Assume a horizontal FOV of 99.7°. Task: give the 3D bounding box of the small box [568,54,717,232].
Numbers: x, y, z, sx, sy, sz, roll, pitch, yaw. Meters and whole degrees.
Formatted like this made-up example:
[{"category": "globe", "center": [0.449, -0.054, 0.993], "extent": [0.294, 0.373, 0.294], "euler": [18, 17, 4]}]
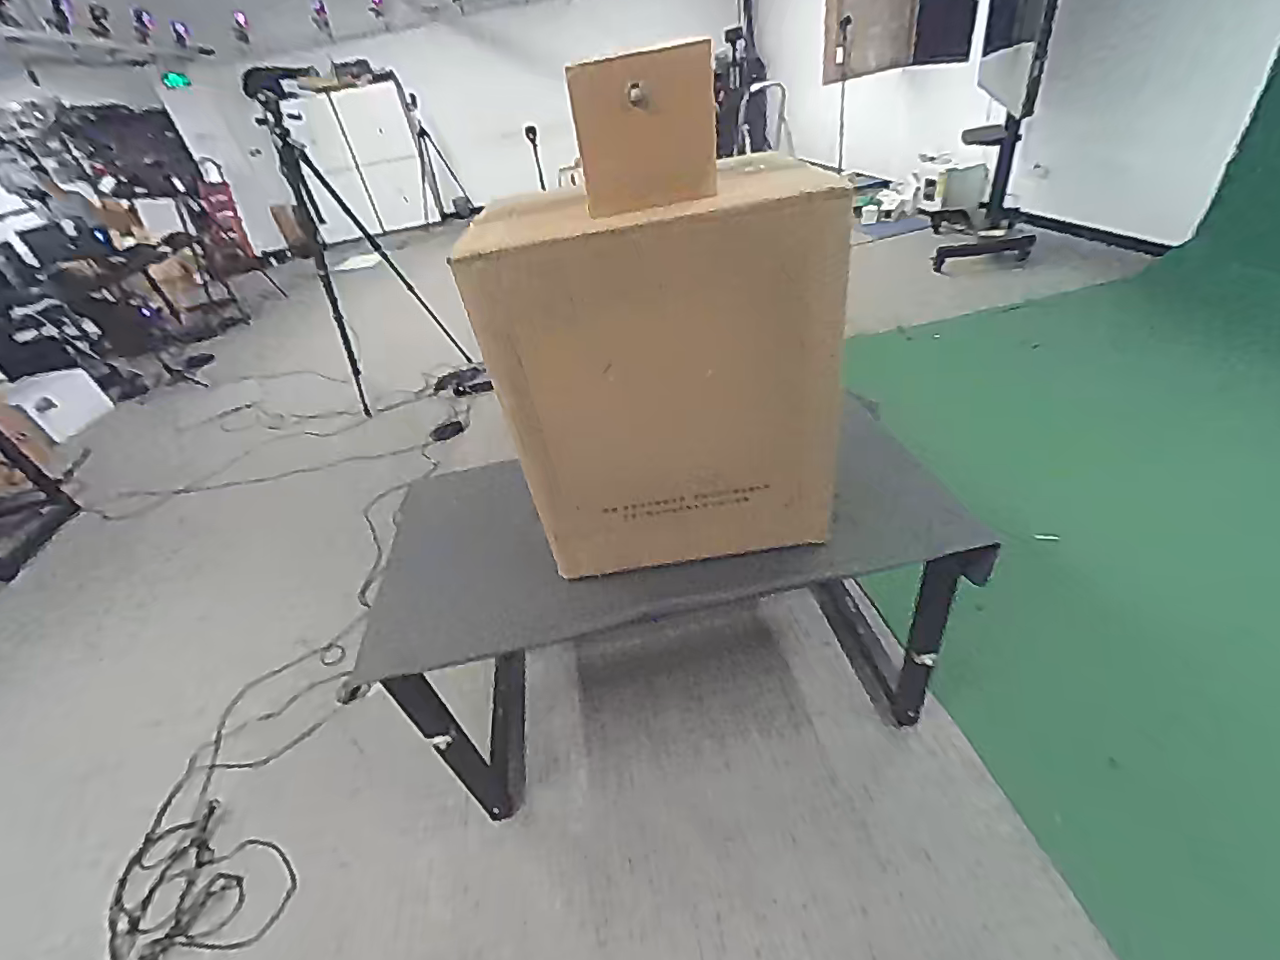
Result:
[{"category": "small box", "center": [0.006, -0.459, 0.736], "extent": [0.179, 0.176, 0.168], "euler": [-10, 39, 2]}]
